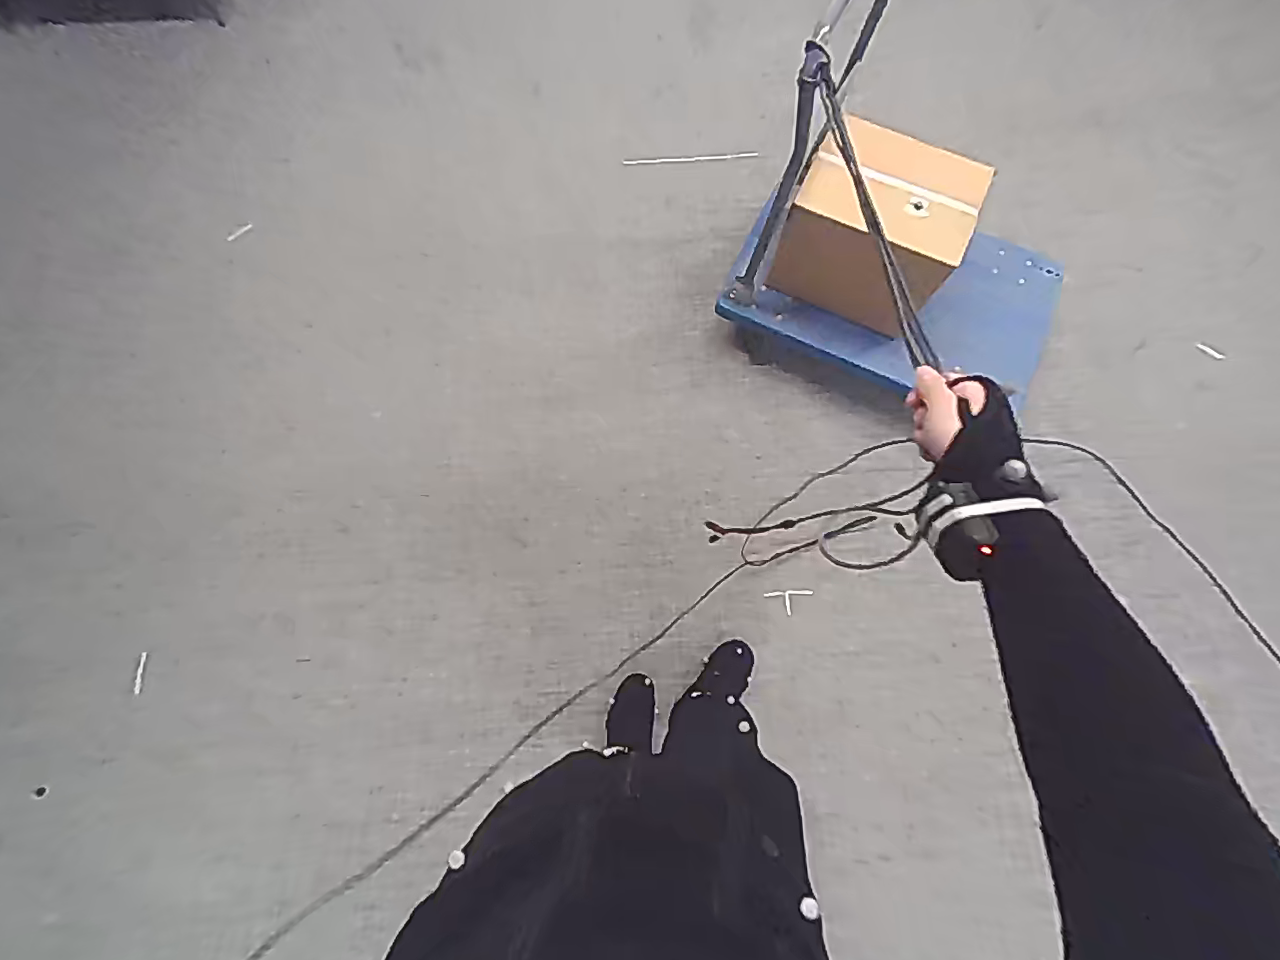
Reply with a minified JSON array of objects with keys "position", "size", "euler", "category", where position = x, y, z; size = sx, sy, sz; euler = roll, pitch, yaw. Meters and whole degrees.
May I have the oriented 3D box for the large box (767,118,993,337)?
[{"position":[0.603,-0.647,1.424],"size":[0.408,0.320,0.320],"euler":[26,75,7],"category":"large box"}]
